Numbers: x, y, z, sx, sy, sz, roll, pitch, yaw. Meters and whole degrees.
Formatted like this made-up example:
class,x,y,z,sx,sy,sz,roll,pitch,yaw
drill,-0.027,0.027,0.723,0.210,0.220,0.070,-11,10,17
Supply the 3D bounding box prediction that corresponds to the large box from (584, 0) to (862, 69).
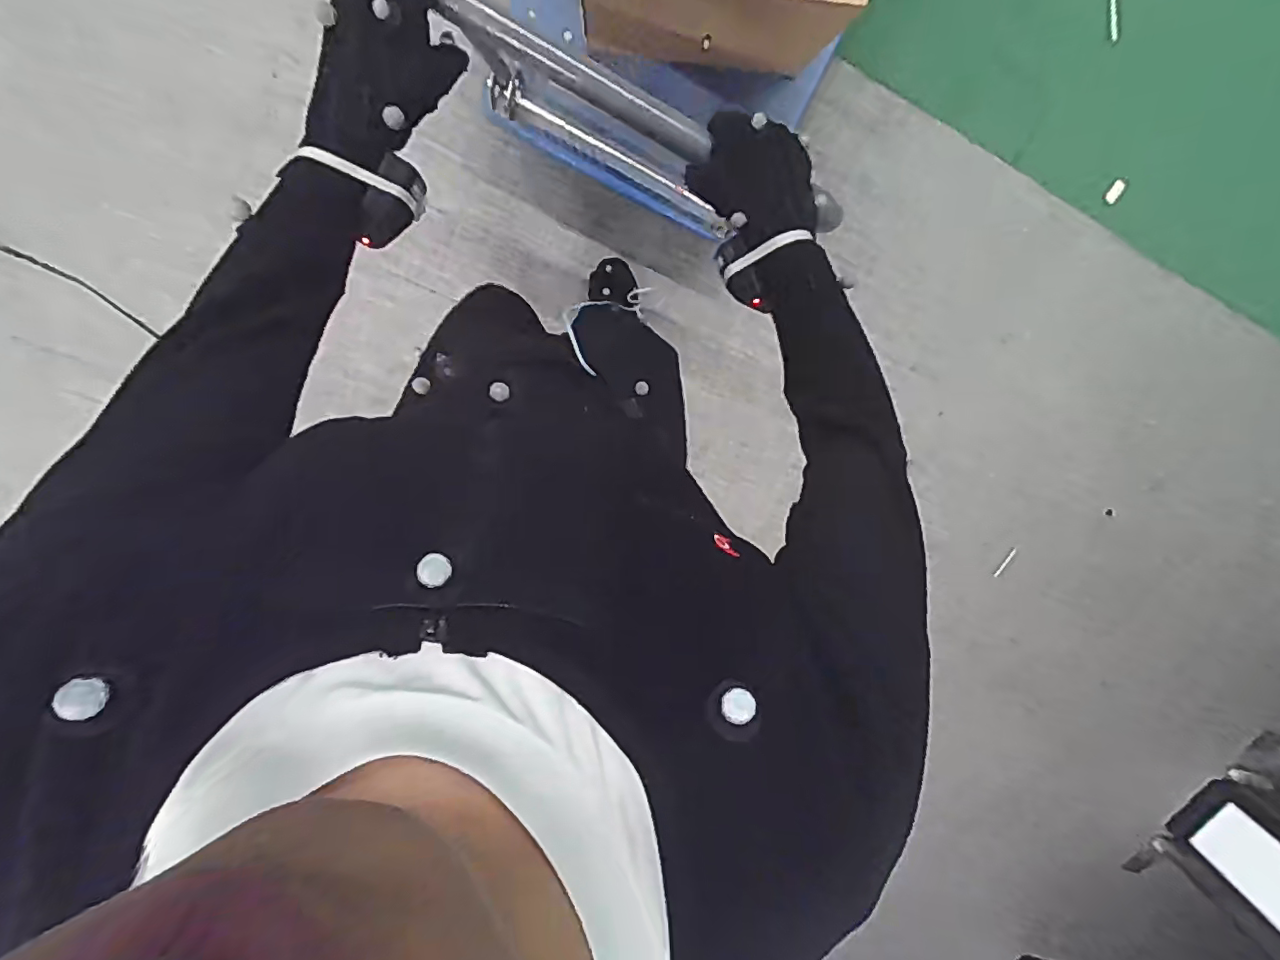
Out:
class,x,y,z,sx,sy,sz,roll,pitch,yaw
large box,0.126,-0.879,0.829,0.408,0.320,0.320,5,112,-5
